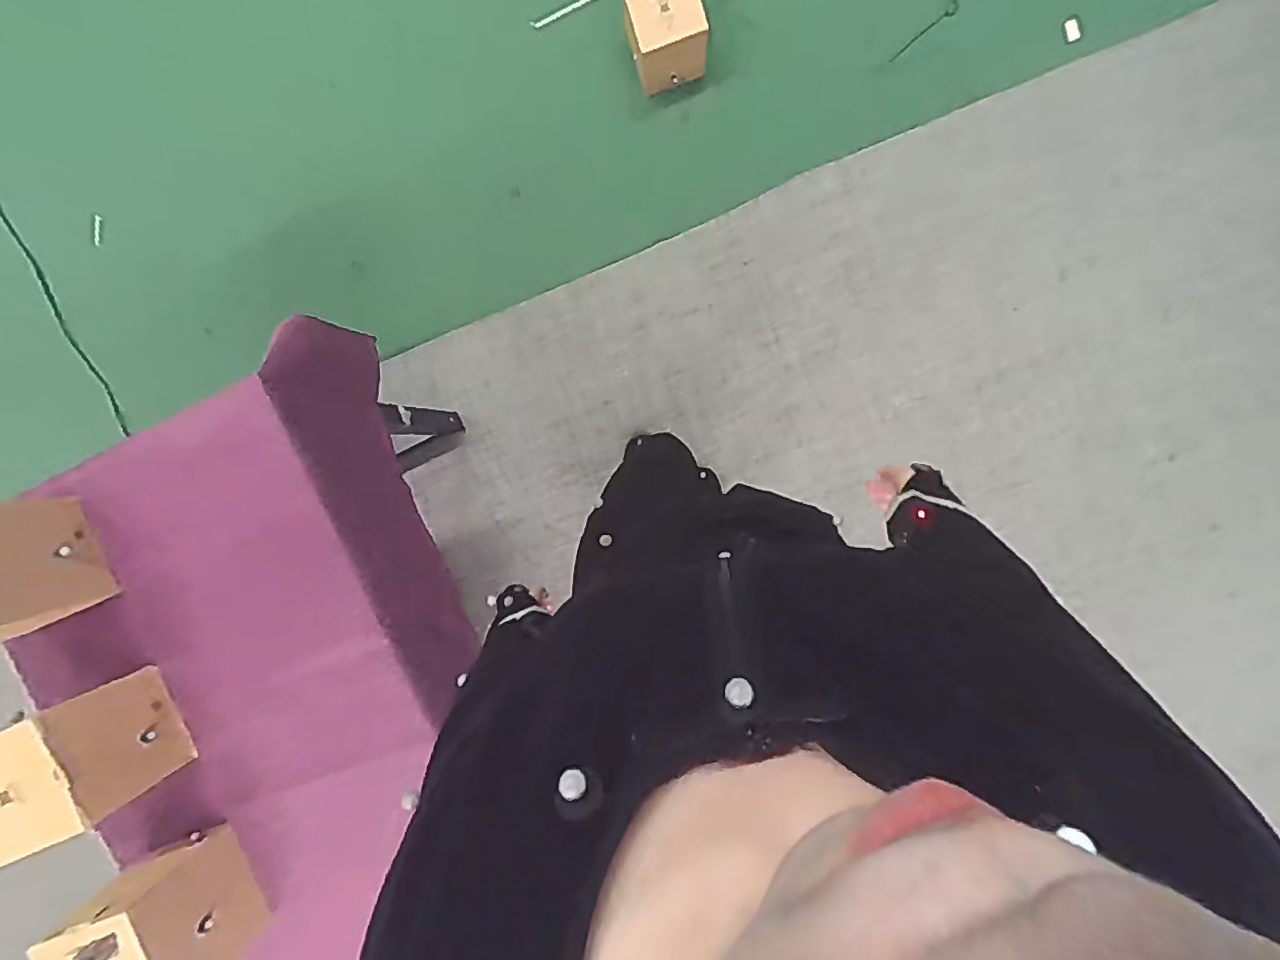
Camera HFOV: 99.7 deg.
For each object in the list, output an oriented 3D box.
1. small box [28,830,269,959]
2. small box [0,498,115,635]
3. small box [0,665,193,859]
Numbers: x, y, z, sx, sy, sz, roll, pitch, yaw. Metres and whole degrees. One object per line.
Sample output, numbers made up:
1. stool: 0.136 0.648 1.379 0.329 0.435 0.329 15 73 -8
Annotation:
1. small box: -0.706 0.658 0.797 0.168 0.176 0.179 -22 93 6
2. small box: -0.934 0.135 0.775 0.179 0.176 0.168 -22 93 3
3. small box: -0.824 0.402 0.791 0.179 0.176 0.168 -24 92 5
